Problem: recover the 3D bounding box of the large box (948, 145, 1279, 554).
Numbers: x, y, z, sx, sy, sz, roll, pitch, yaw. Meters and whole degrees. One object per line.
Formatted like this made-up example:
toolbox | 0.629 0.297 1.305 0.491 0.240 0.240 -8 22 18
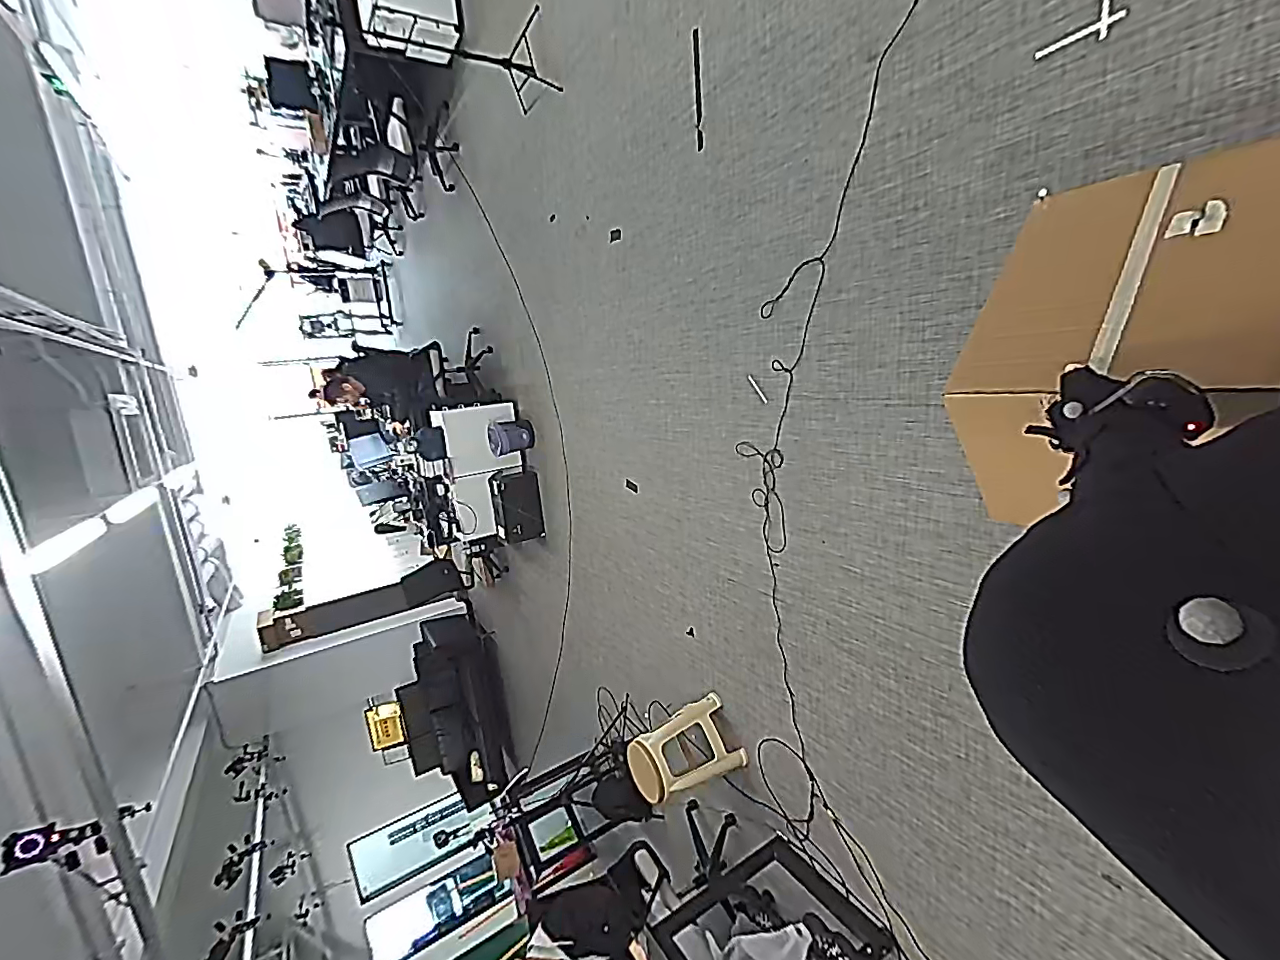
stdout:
large box | 0.697 -0.164 0.748 0.320 0.408 0.320 12 152 52
